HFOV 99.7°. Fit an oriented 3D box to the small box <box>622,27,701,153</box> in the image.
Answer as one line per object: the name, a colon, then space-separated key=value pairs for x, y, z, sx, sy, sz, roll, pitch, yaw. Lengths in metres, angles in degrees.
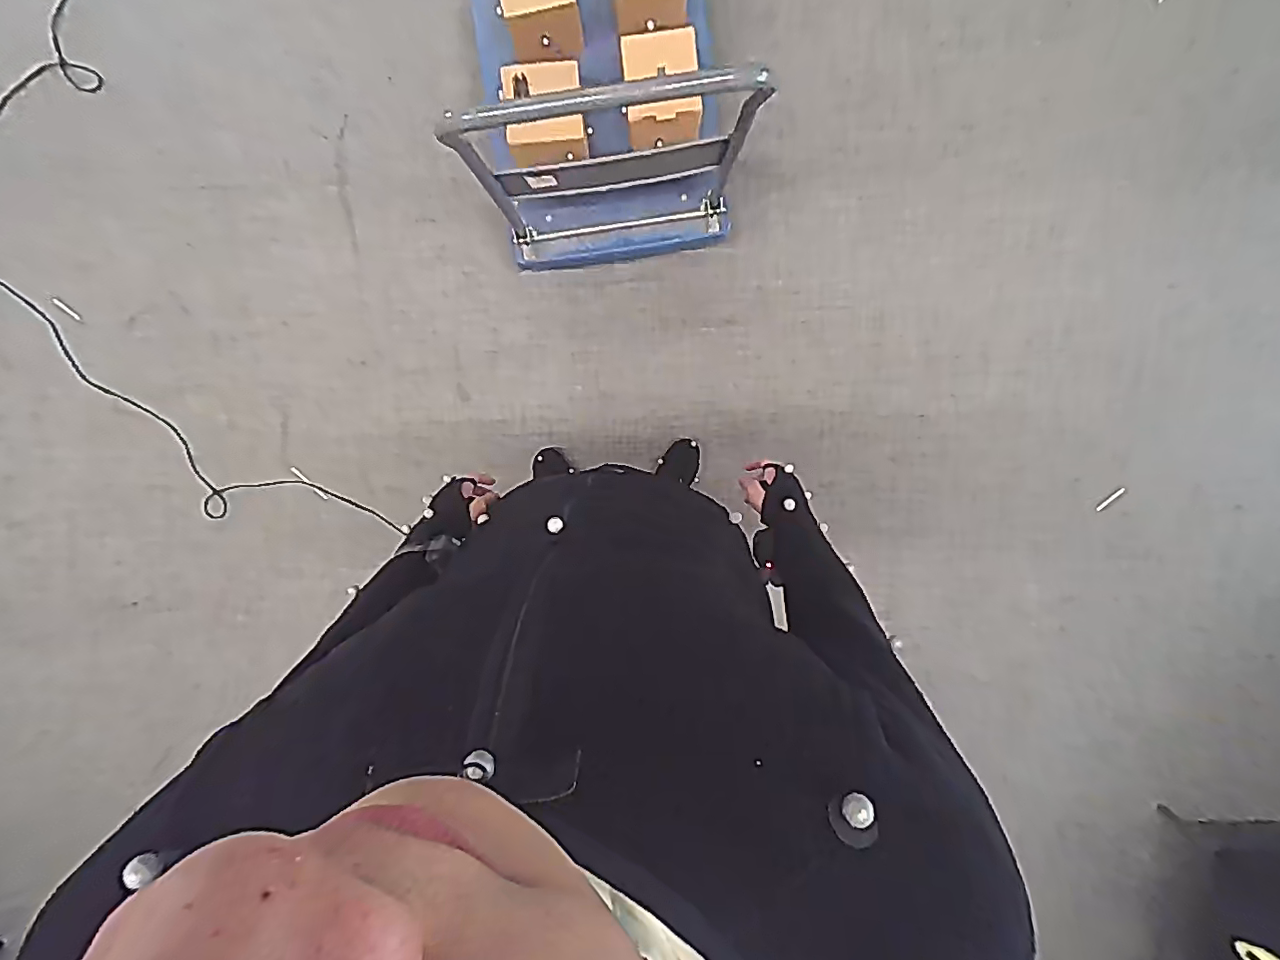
small box: x=0.048 y=-0.919 z=1.287 sx=0.168 sy=0.176 sz=0.179 roll=-7 pitch=97 yaw=2

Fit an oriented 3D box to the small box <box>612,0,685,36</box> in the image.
small box: x=0.009 y=-1.185 z=1.256 sx=0.168 sy=0.176 sz=0.179 roll=-11 pitch=97 yaw=3

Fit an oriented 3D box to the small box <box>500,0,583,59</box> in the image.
small box: x=-0.237 y=-1.134 z=1.268 sx=0.168 sy=0.176 sz=0.179 roll=-12 pitch=96 yaw=2
